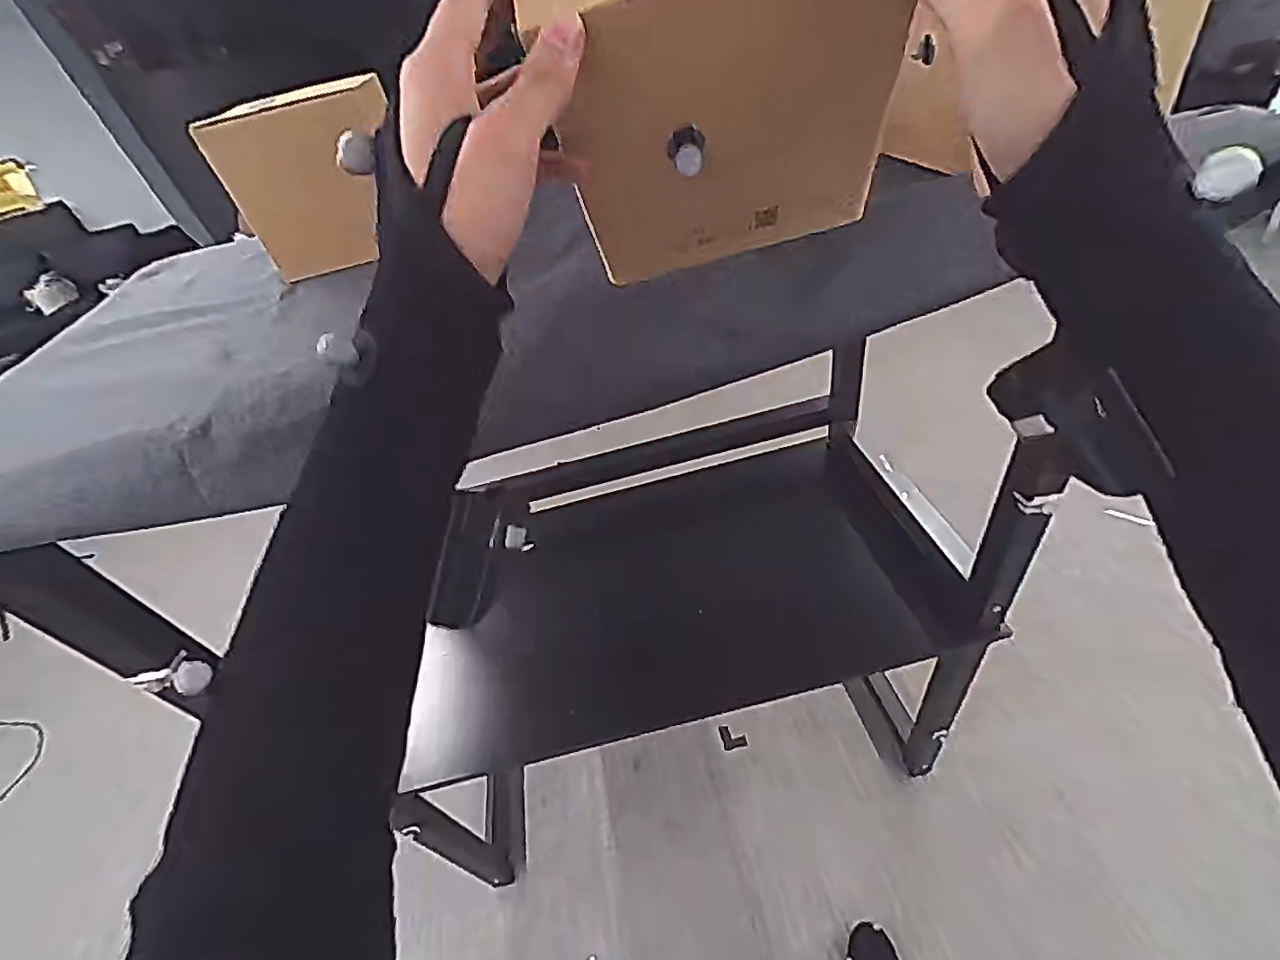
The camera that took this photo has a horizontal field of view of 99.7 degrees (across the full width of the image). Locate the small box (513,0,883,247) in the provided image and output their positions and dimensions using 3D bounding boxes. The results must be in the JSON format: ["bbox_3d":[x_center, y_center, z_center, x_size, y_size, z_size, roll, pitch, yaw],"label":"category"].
[{"bbox_3d":[0.031,-0.263,0.312,0.168,0.176,0.179,-12,70,8],"label":"small box"}]

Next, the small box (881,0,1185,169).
[{"bbox_3d":[0.336,-0.395,0.482,0.168,0.176,0.179,-13,38,2],"label":"small box"}]
